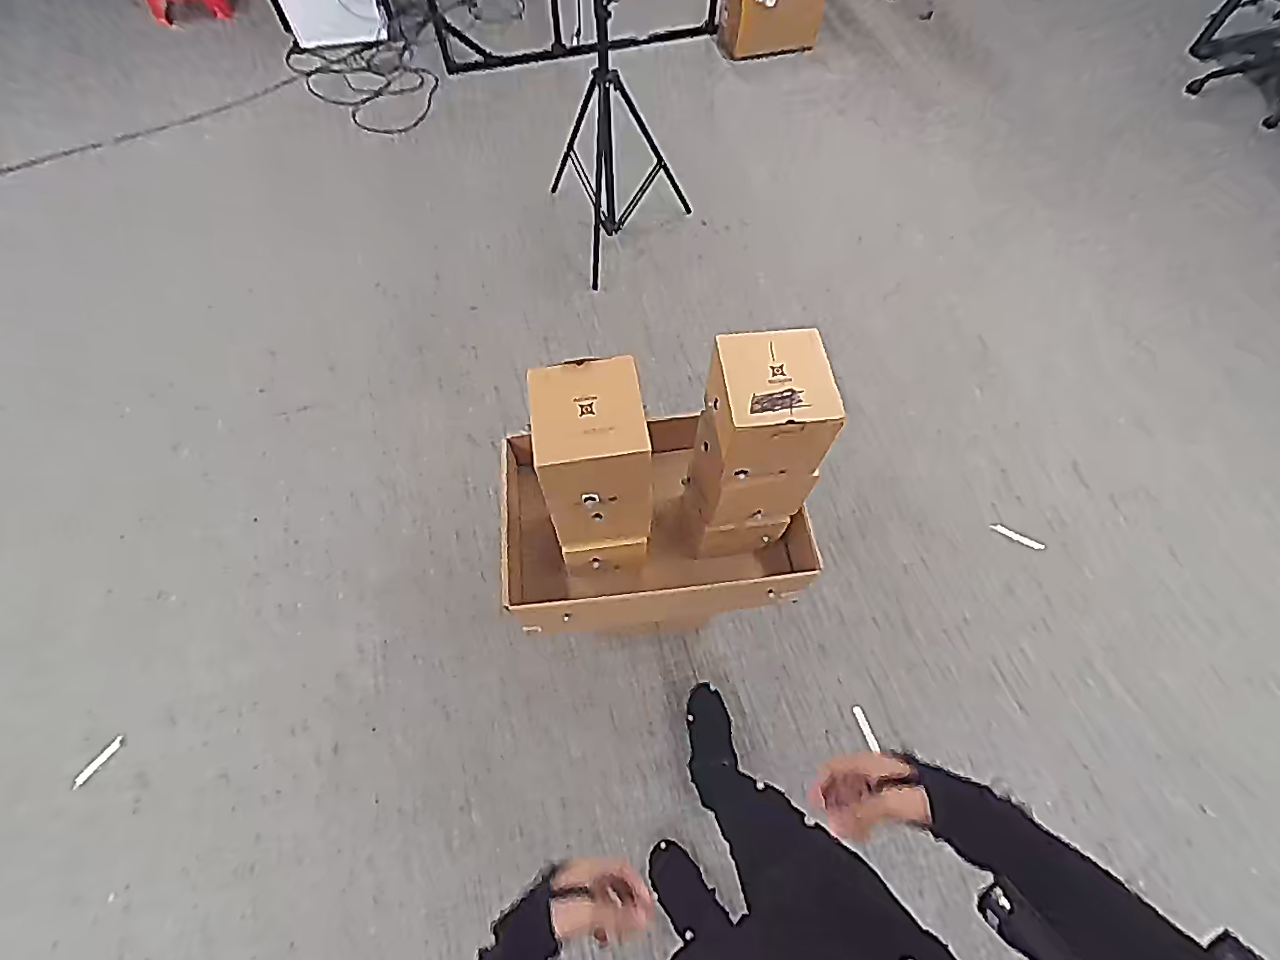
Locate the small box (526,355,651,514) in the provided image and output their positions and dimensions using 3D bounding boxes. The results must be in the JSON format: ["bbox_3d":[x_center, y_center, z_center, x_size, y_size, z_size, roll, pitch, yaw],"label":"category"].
[{"bbox_3d":[-0.080,-0.067,0.843,0.168,0.176,0.179,-8,62,-4],"label":"small box"}]

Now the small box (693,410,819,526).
[{"bbox_3d":[0.204,-0.027,1.007,0.179,0.176,0.168,-9,63,-4],"label":"small box"}]

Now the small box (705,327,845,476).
[{"bbox_3d":[0.202,-0.116,0.866,0.168,0.176,0.179,-5,62,-3],"label":"small box"}]

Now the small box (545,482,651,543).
[{"bbox_3d":[-0.077,0.007,0.990,0.179,0.176,0.168,-6,63,-5],"label":"small box"}]

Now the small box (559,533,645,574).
[{"bbox_3d":[-0.082,0.090,1.132,0.168,0.176,0.179,-7,63,-5],"label":"small box"}]
